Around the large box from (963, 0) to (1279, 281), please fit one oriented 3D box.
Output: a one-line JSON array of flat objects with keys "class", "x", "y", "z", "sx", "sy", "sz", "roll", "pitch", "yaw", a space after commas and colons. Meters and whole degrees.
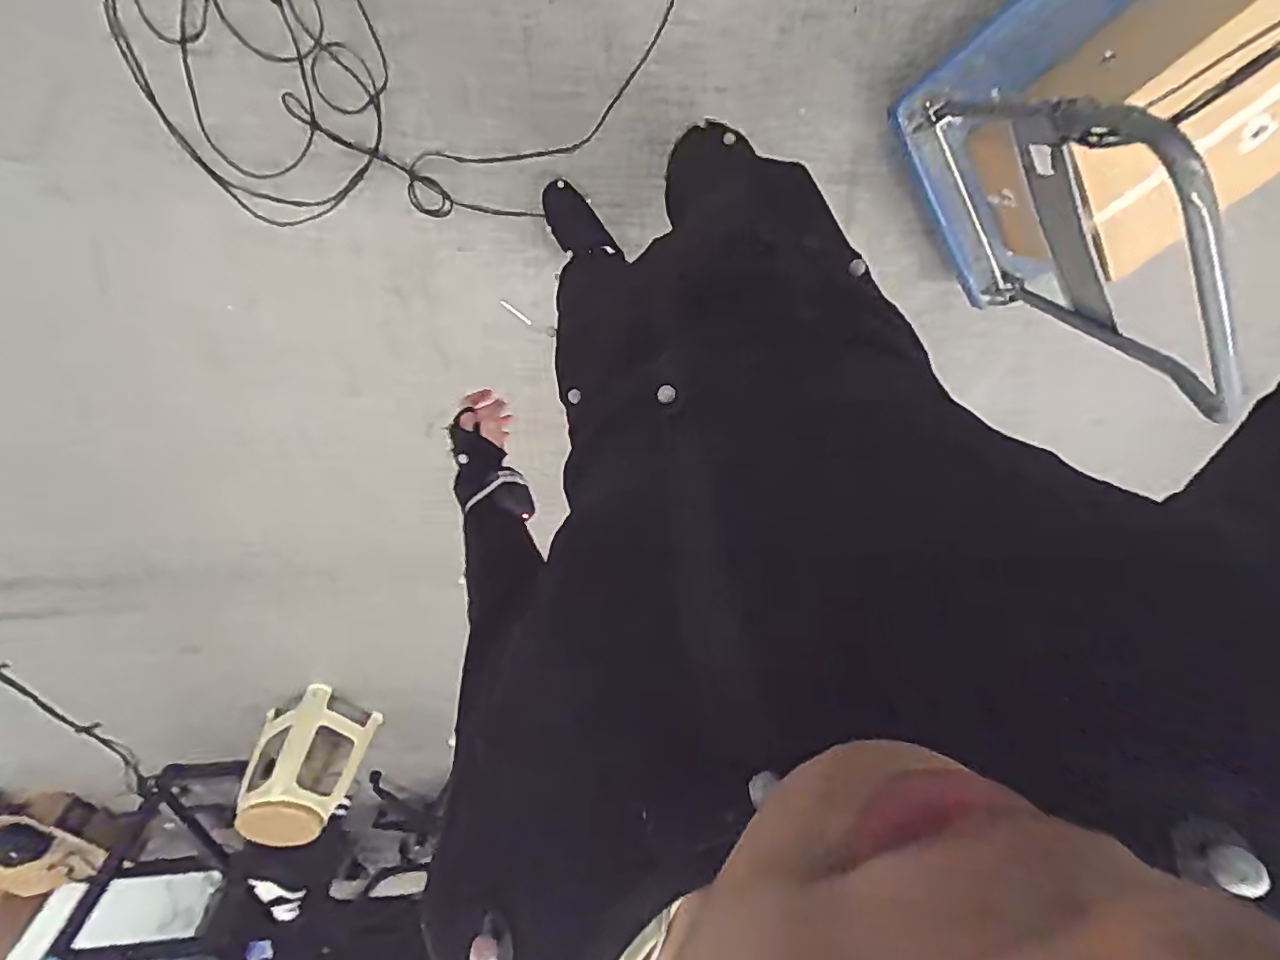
[{"class": "large box", "x": 0.952, "y": -0.672, "z": 1.057, "sx": 0.408, "sy": 0.320, "sz": 0.320, "roll": -37, "pitch": 120, "yaw": 17}]
